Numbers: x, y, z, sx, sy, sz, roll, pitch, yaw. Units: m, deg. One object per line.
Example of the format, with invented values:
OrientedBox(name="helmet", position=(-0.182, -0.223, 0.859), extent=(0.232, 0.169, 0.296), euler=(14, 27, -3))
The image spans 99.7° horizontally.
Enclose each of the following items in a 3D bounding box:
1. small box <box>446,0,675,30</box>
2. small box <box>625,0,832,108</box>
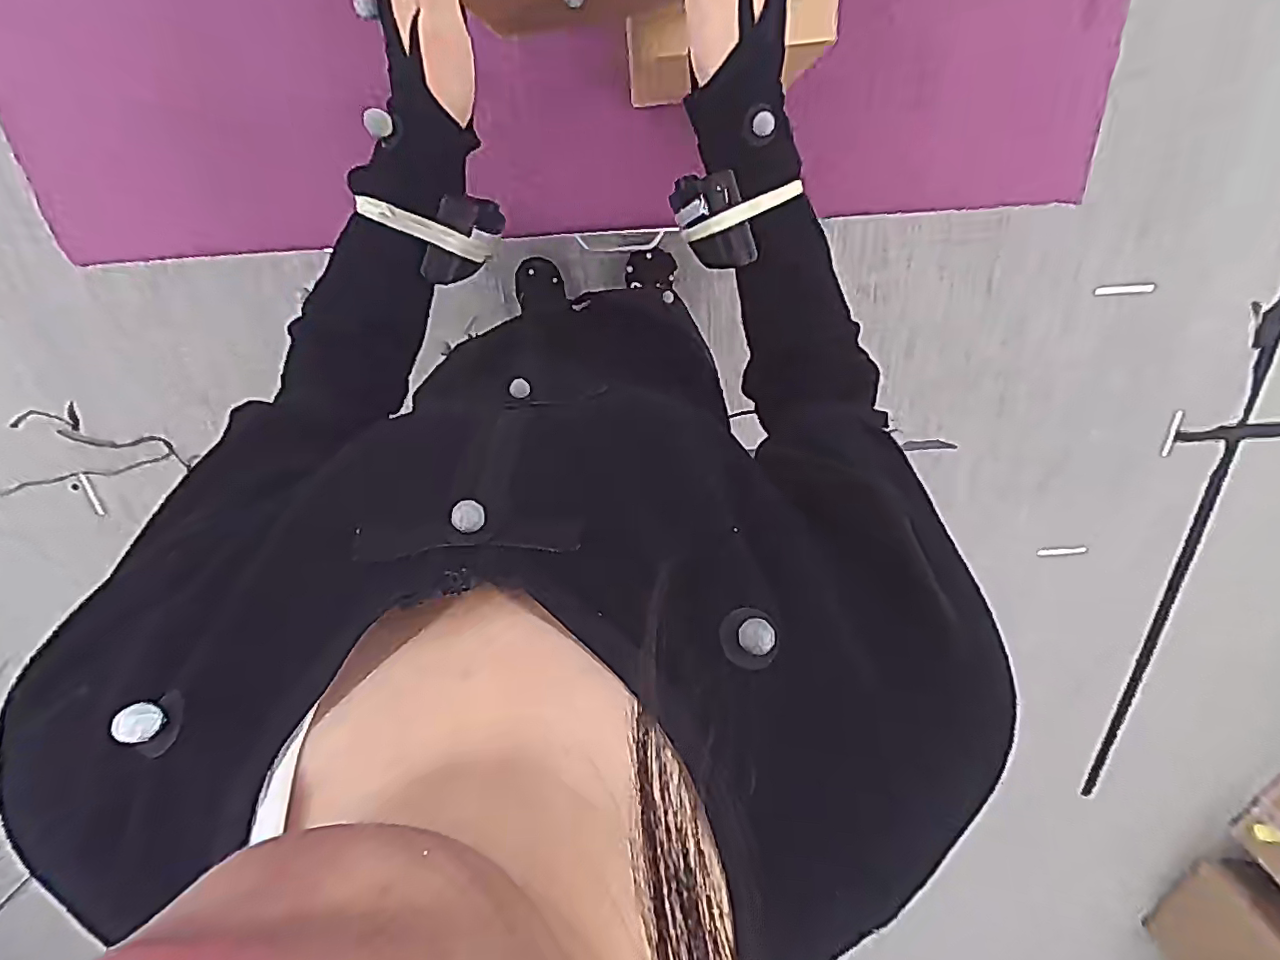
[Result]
OrientedBox(name="small box", position=(-0.048, -0.394, 0.317), extent=(0.179, 0.176, 0.168), euler=(-4, 120, 6))
OrientedBox(name="small box", position=(0.068, -0.463, 0.488), extent=(0.168, 0.176, 0.179), euler=(-4, 114, 1))
